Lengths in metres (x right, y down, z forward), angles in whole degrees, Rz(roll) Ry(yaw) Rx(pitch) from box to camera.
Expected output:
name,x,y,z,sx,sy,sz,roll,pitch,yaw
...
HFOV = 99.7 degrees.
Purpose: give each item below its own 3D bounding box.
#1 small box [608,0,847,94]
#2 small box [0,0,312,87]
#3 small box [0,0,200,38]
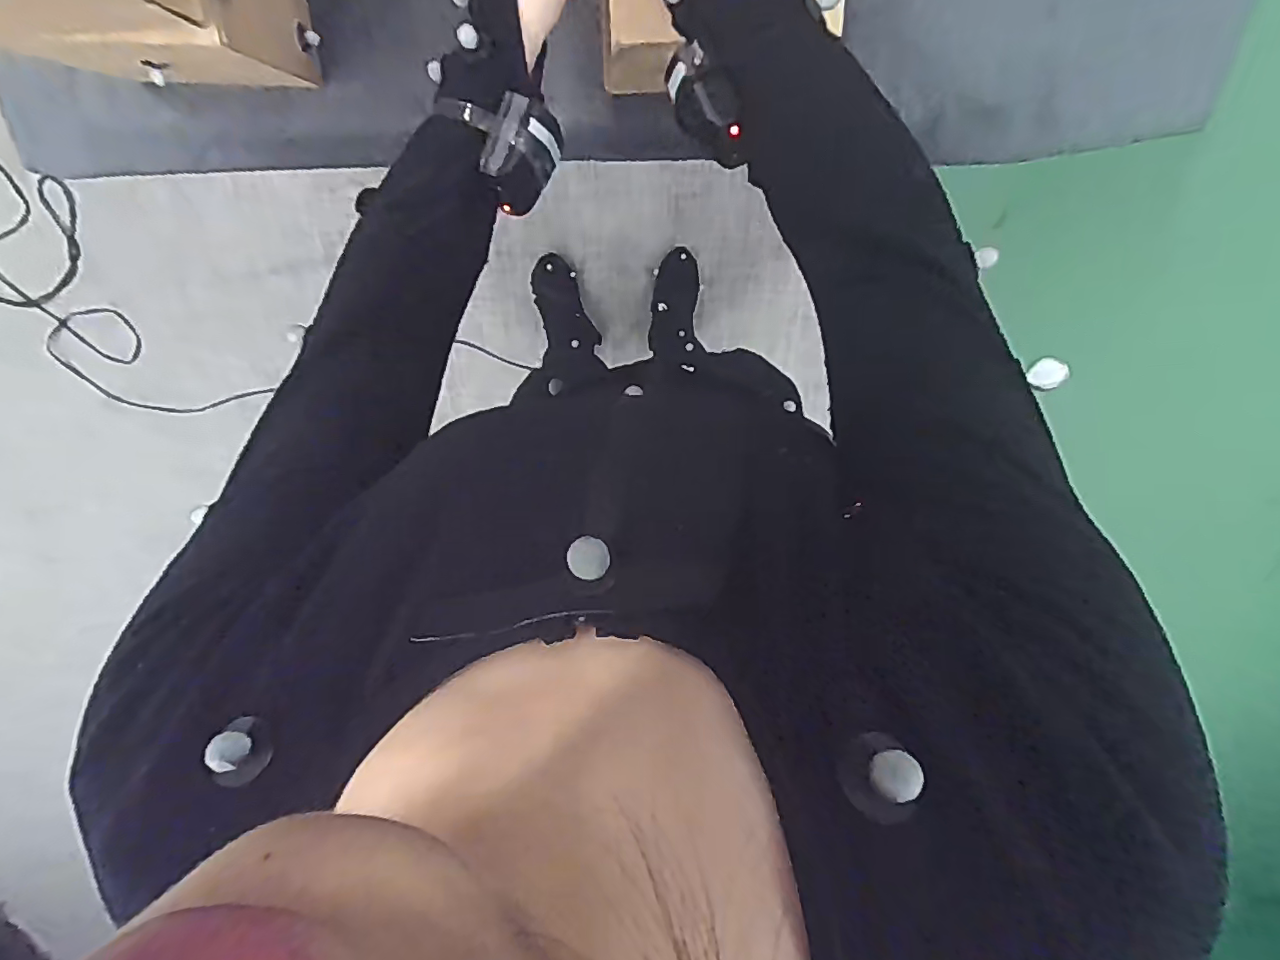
name,x,y,z,sx,sy,sz,roll,pitch,yaw
small box,0.059,-0.432,0.441,0.179,0.176,0.168,-4,116,-2
small box,-0.381,-0.415,0.411,0.179,0.176,0.168,-1,118,-4
small box,-0.383,-0.341,0.265,0.179,0.176,0.168,-5,118,-3
